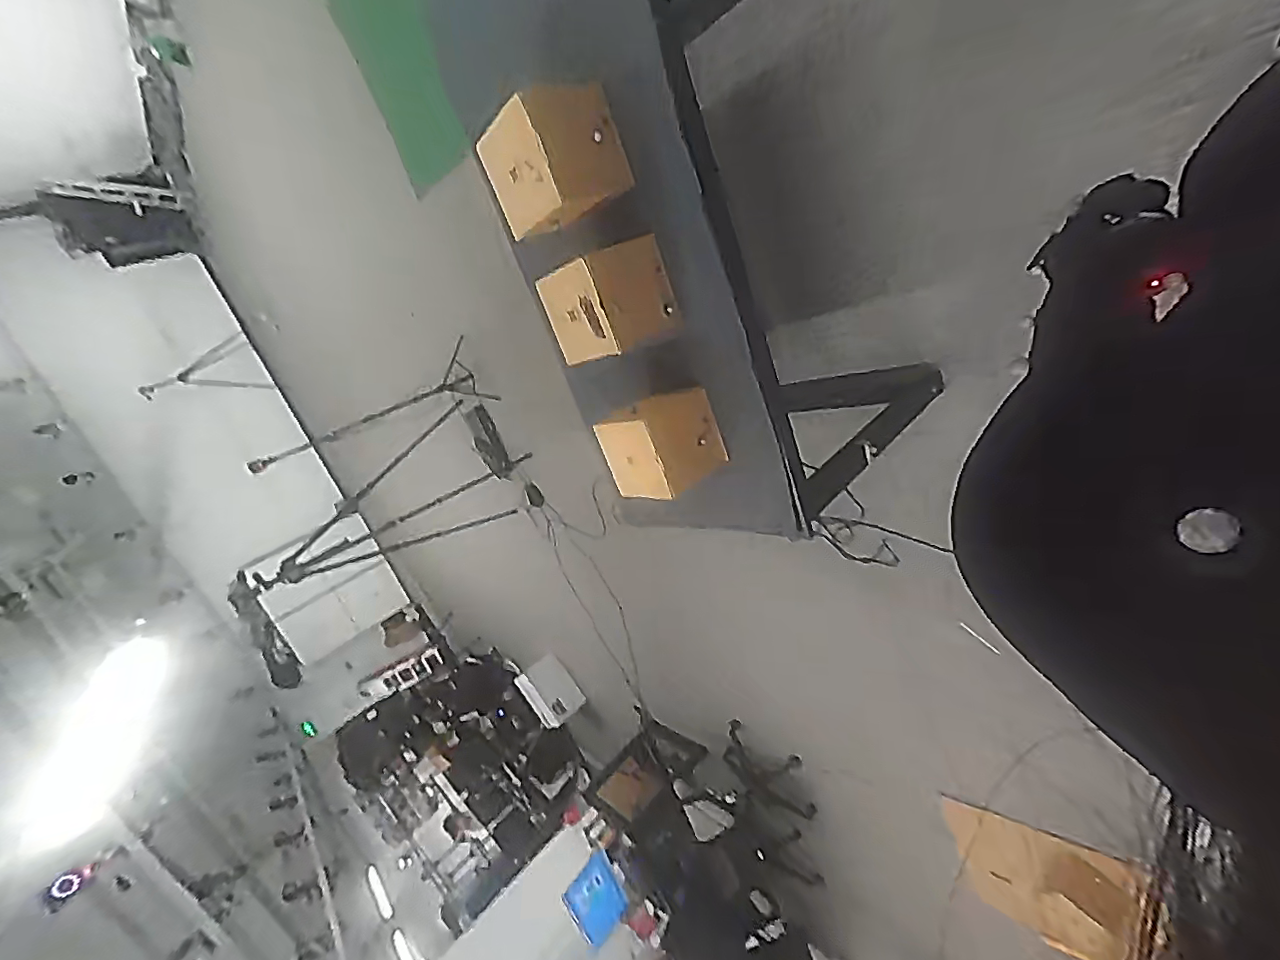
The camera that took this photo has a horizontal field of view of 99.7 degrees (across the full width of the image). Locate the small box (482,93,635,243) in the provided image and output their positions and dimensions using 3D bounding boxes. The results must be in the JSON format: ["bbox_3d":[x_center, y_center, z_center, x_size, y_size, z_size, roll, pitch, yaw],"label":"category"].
[{"bbox_3d":[-0.140,-0.538,0.943,0.179,0.176,0.168,-1,117,52],"label":"small box"}]

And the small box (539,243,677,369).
[{"bbox_3d":[-0.051,-0.323,1.012,0.179,0.176,0.168,2,119,52],"label":"small box"}]

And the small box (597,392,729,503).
[{"bbox_3d":[0.049,-0.067,1.099,0.179,0.176,0.168,0,117,52],"label":"small box"}]
